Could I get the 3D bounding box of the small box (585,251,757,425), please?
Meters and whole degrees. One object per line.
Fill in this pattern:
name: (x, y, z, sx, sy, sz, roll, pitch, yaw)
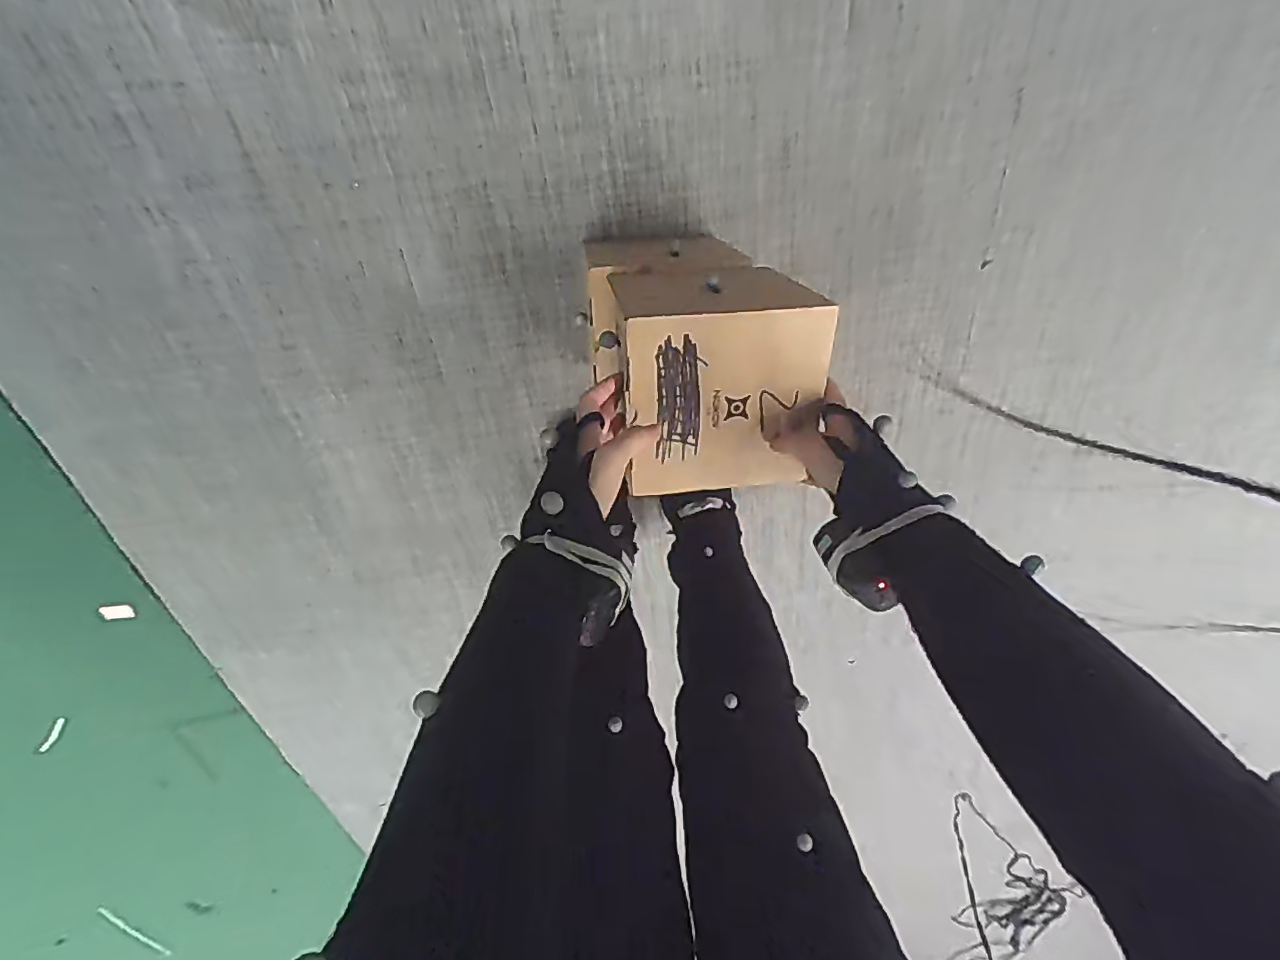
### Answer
small box: (0.028, -0.182, 0.667, 0.179, 0.176, 0.168, -5, 122, -5)
